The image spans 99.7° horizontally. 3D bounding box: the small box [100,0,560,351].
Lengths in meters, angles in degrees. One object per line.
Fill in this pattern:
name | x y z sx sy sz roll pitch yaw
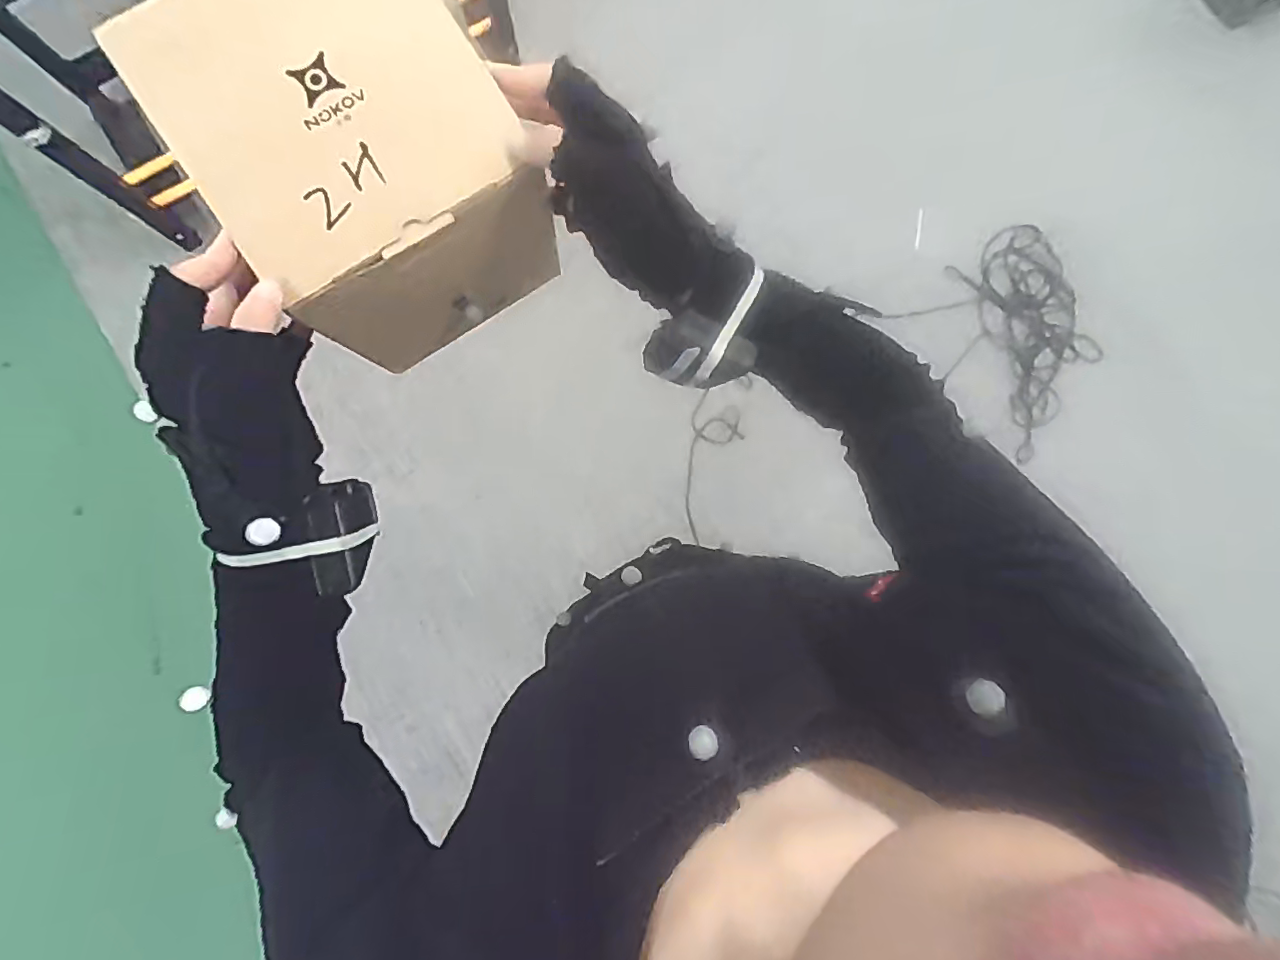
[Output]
small box | -0.170 -0.215 0.364 0.168 0.176 0.179 -33 92 -4
